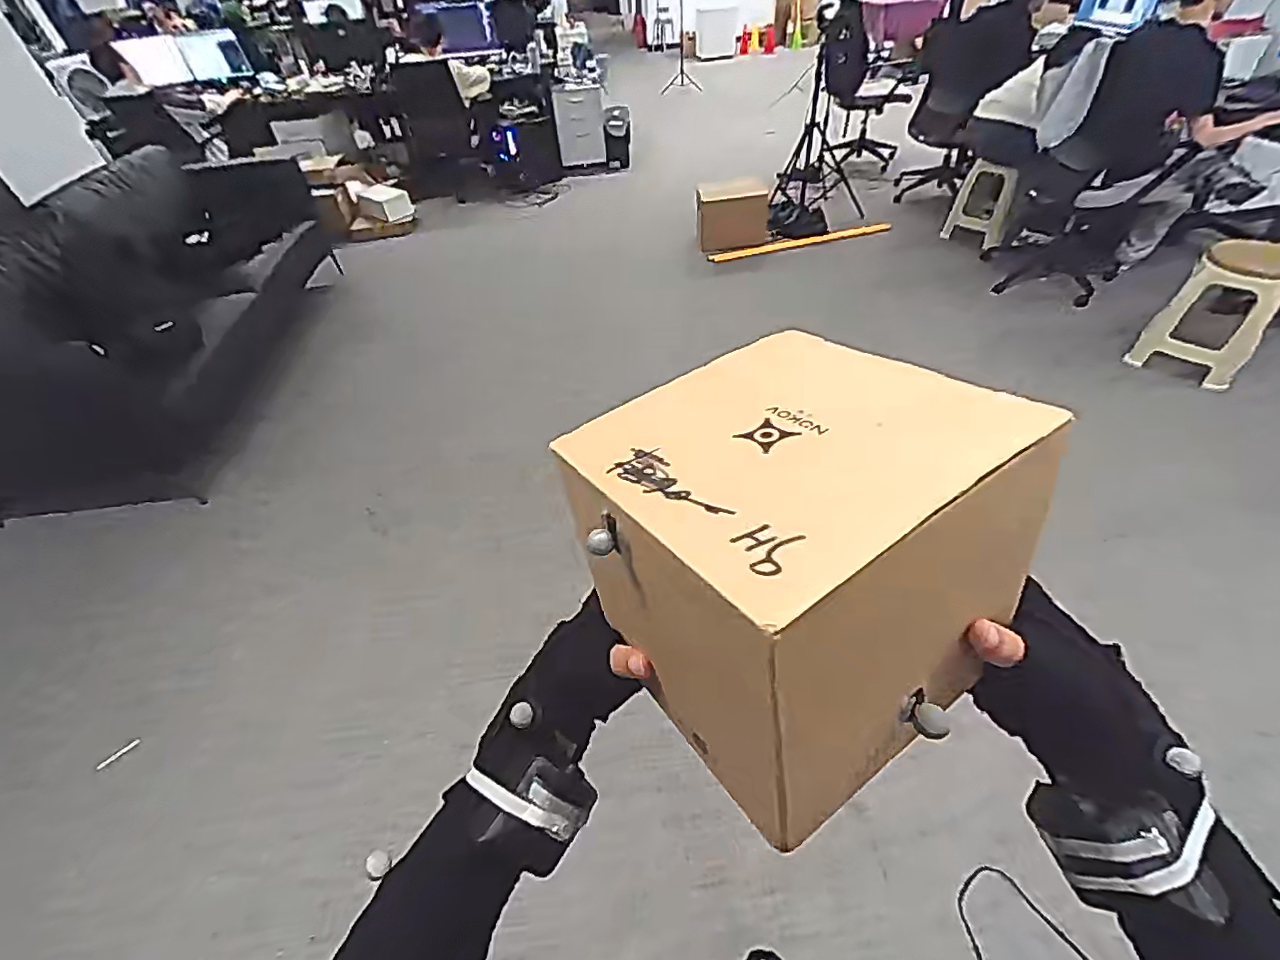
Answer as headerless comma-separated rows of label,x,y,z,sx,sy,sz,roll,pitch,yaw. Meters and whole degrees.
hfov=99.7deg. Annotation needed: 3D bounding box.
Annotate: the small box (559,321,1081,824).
small box,0.082,0.035,0.297,0.179,0.176,0.168,-27,38,-21
